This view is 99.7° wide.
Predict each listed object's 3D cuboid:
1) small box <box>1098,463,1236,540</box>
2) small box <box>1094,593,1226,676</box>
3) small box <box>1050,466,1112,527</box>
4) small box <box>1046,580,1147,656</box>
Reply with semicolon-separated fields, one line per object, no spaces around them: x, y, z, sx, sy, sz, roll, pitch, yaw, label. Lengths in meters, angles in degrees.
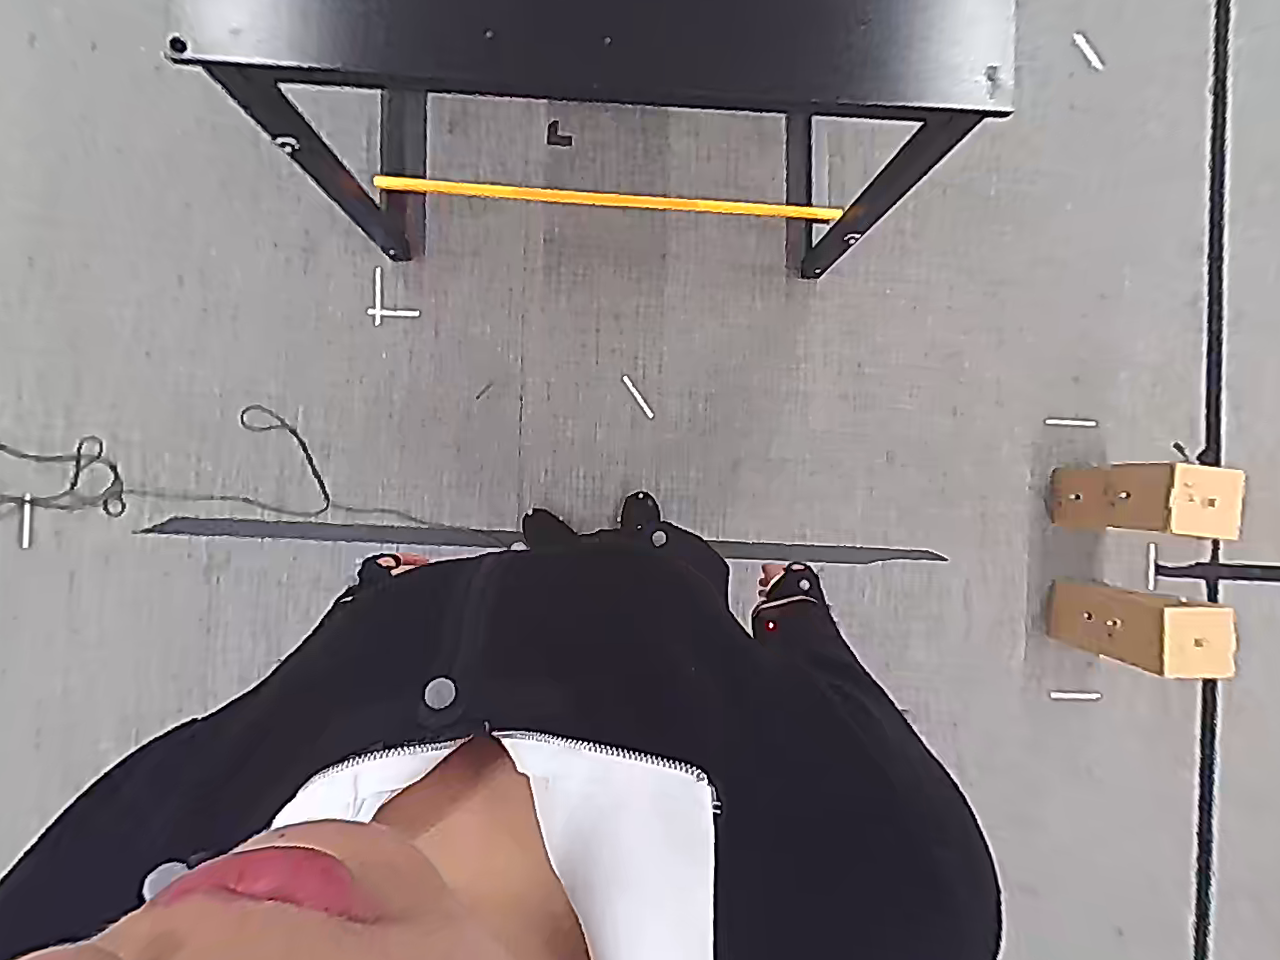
1.303;0.050;1.345;0.179;0.176;0.168;7;89;-3;small box
1.291;0.378;1.350;0.179;0.176;0.168;0;89;-2;small box
1.289;0.048;1.510;0.179;0.176;0.168;1;90;-3;small box
1.280;0.383;1.512;0.168;0.176;0.179;5;91;-3;small box
